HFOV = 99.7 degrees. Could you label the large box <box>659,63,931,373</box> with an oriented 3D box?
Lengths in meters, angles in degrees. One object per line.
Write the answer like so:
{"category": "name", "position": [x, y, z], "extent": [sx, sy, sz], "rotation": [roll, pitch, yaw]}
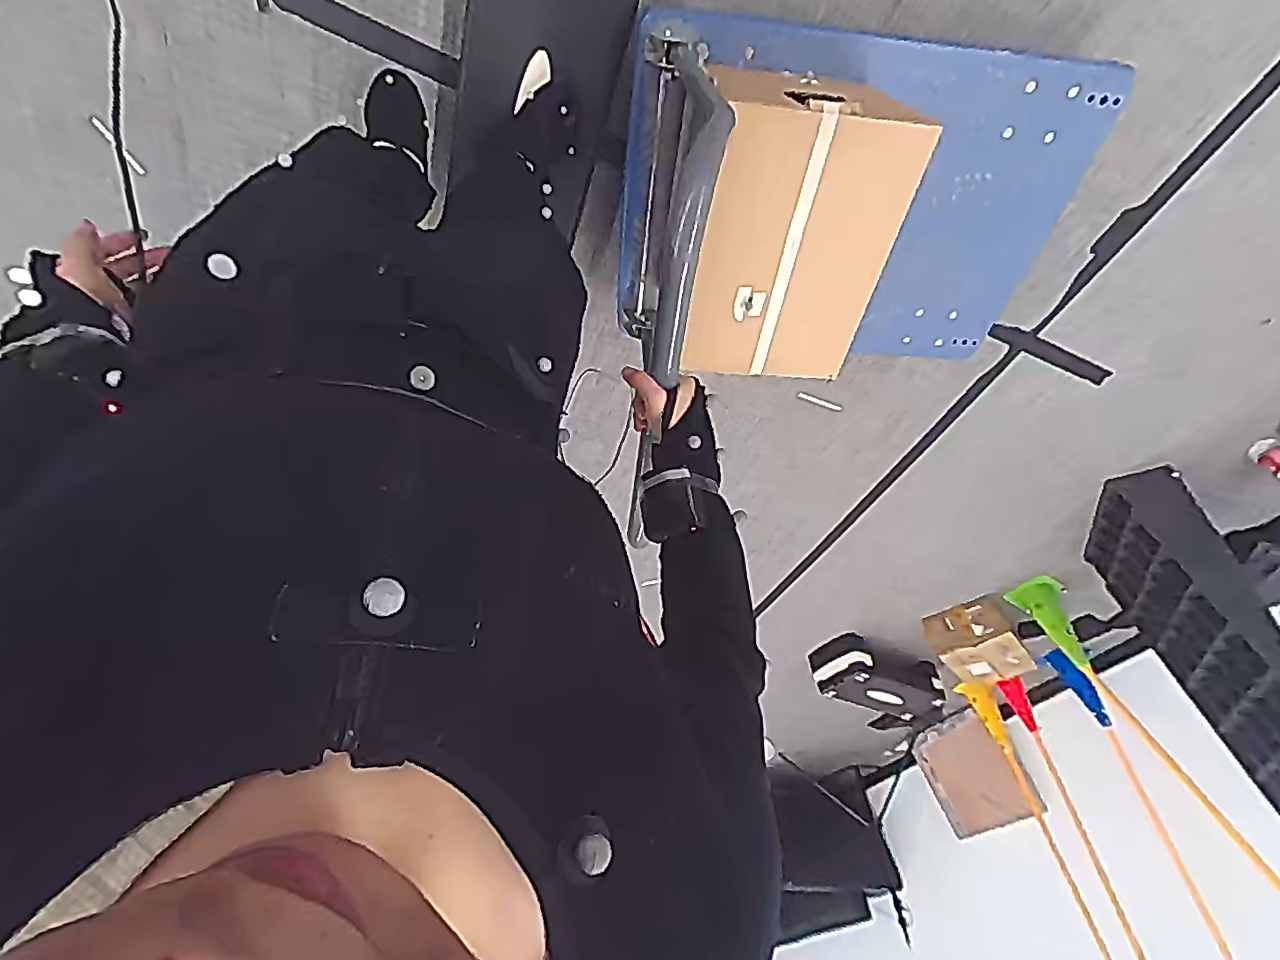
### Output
{"category": "large box", "position": [0.216, -0.448, 0.947], "extent": [0.320, 0.320, 0.408], "rotation": [3, 135, -5]}
